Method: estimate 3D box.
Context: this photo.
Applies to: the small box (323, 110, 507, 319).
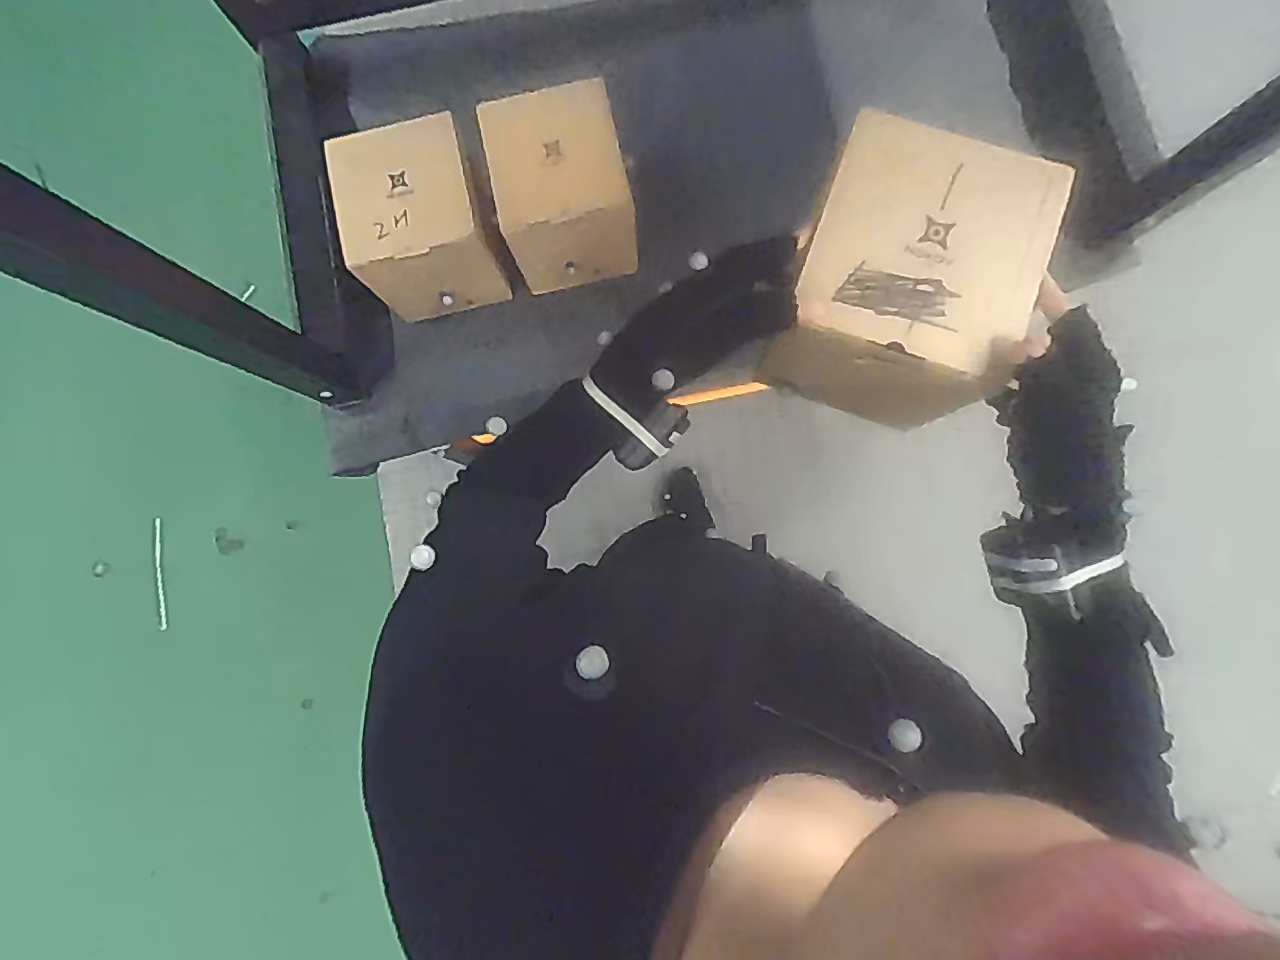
[{"bbox_3d":[-0.294,-0.347,0.736,0.168,0.176,0.179,-12,82,1],"label":"small box"}]
